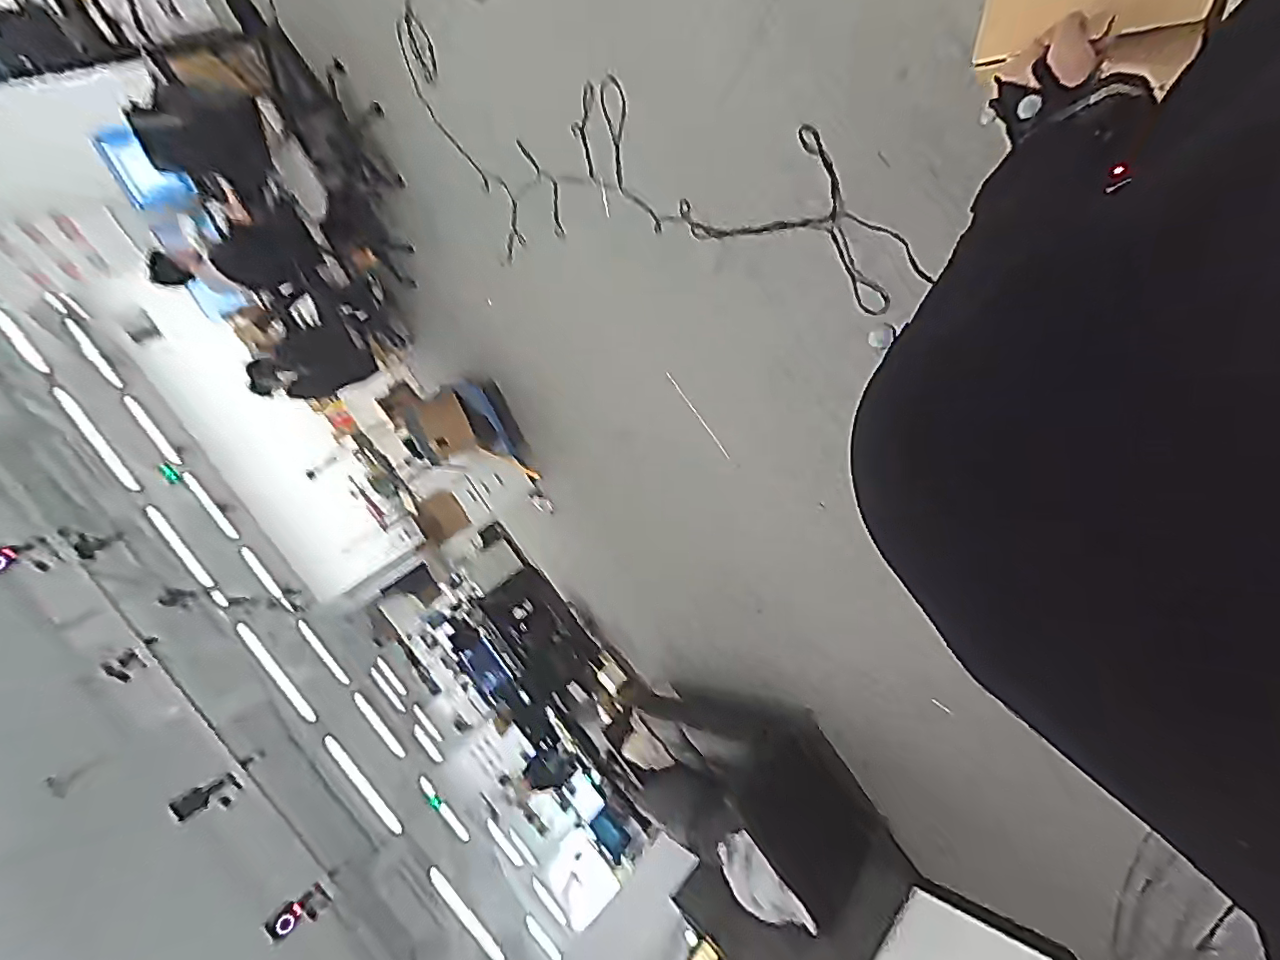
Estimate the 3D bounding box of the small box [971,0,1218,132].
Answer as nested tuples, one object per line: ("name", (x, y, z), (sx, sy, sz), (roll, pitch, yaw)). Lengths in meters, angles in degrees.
("small box", (0.442, -0.464, 0.515), (0.168, 0.179, 0.176), (18, 113, 39))
